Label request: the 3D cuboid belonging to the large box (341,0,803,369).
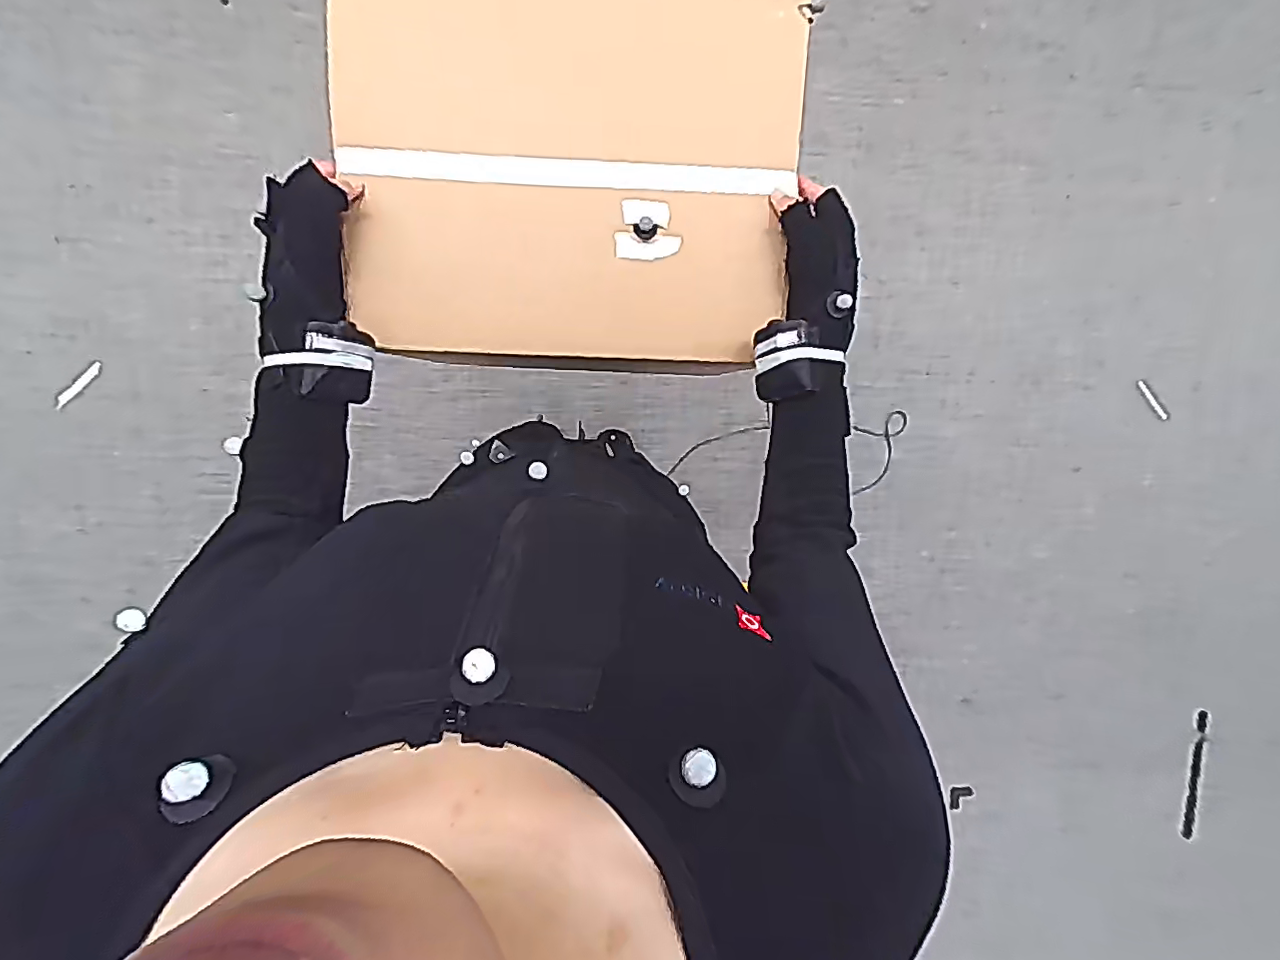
[{"bbox_3d":[-0.067,-0.297,0.631,0.408,0.320,0.320,1,99,-4],"label":"large box"}]
